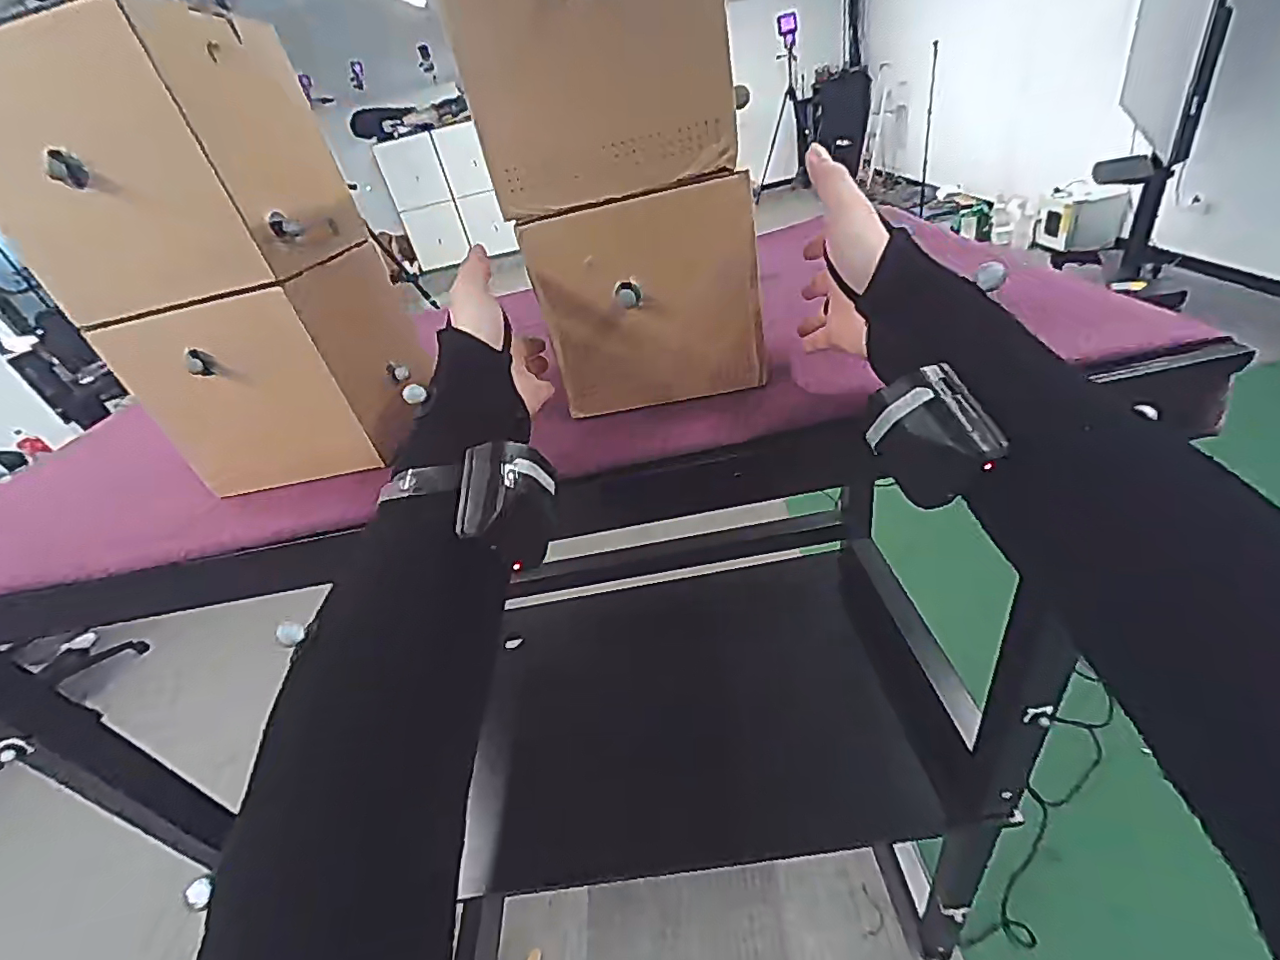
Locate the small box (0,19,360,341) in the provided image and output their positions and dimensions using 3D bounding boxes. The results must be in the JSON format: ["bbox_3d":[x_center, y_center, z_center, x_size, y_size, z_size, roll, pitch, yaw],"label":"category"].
[{"bbox_3d":[-0.368,-0.231,0.434,0.179,0.176,0.168,-11,34,8],"label":"small box"}]

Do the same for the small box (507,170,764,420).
[{"bbox_3d":[0.005,-0.172,0.496,0.179,0.176,0.168,-11,34,8],"label":"small box"}]

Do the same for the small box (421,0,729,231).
[{"bbox_3d":[-0.036,-0.303,0.408,0.179,0.176,0.168,-9,35,9],"label":"small box"}]

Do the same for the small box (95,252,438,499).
[{"bbox_3d":[-0.332,-0.099,0.526,0.179,0.176,0.168,-10,35,7],"label":"small box"}]
